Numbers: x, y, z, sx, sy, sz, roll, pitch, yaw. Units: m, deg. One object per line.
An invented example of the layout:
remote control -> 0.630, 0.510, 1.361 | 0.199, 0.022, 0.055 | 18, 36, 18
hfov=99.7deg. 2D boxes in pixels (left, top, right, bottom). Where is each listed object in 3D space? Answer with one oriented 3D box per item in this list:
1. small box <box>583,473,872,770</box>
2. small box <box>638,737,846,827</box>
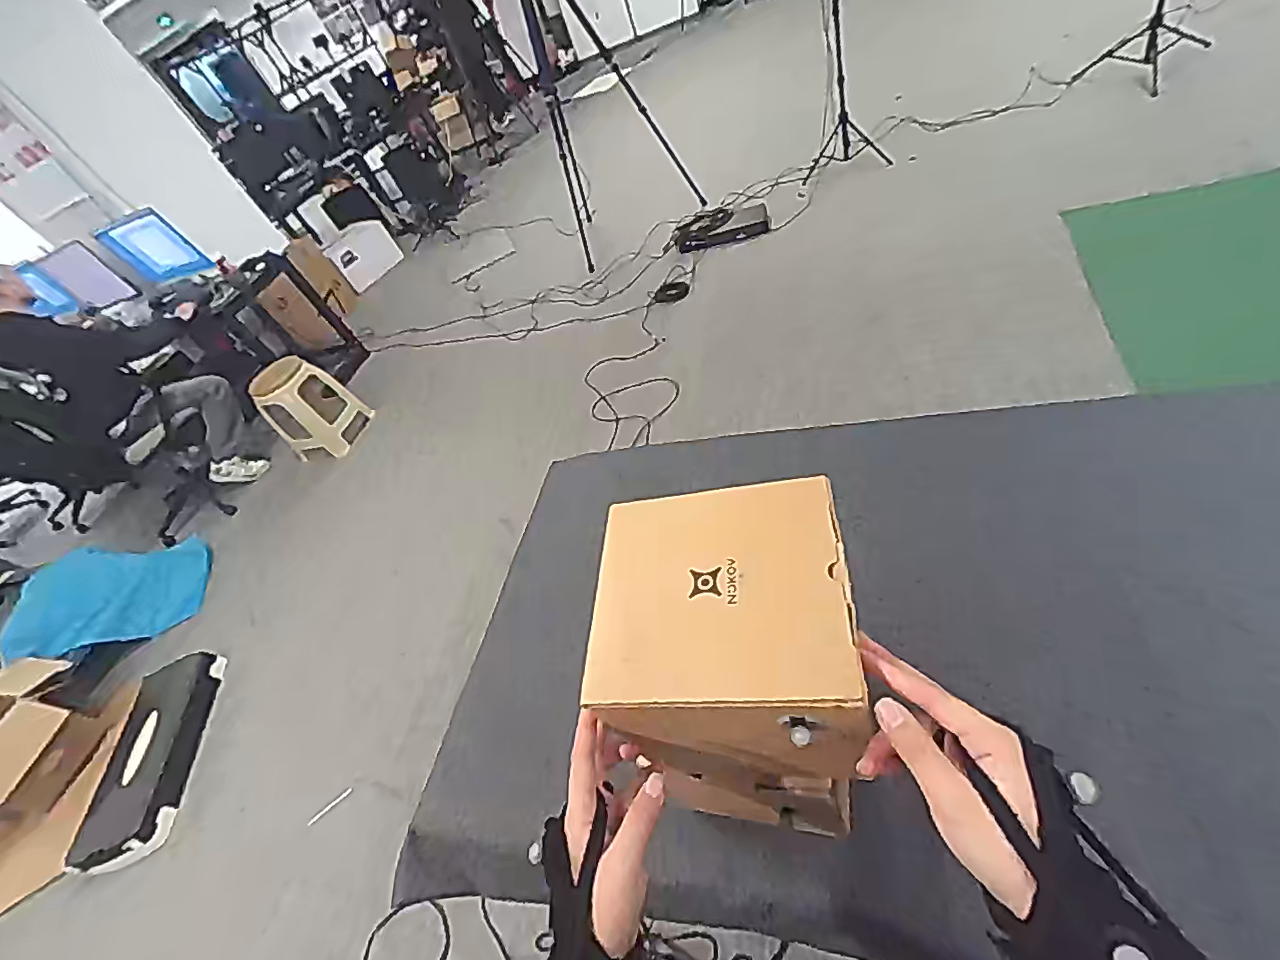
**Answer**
small box -> 0.077, 0.119, 0.430 | 0.179, 0.176, 0.168 | -8, 47, 17
small box -> 0.116, 0.226, 0.546 | 0.168, 0.176, 0.179 | -2, 48, 22
